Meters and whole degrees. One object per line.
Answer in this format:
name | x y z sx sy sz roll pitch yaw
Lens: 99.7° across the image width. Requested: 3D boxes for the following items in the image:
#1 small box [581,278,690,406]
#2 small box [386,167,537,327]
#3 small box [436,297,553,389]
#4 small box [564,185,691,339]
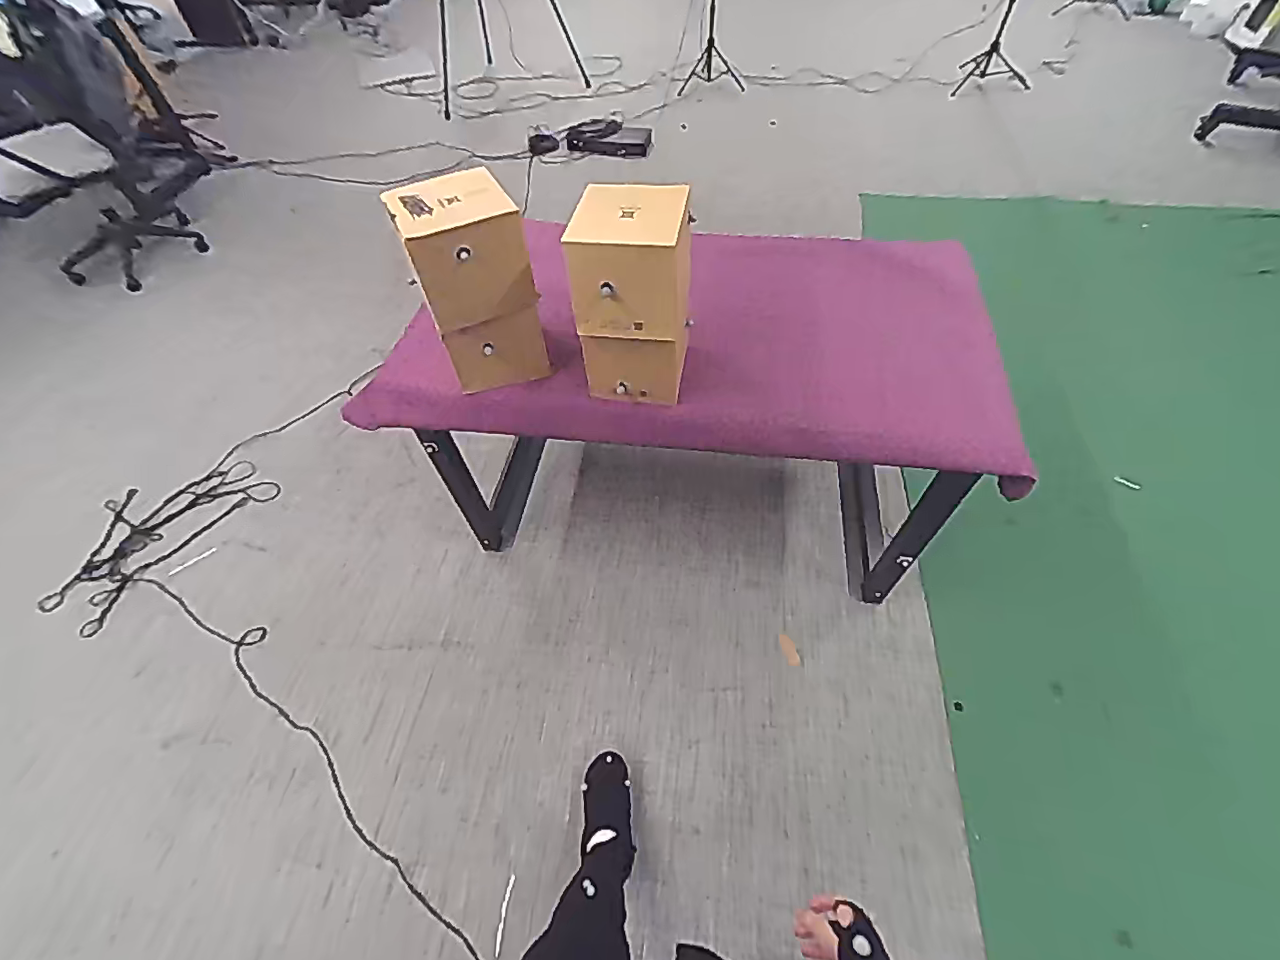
small box | -0.001 -0.263 1.002 0.168 0.176 0.179 7 54 8
small box | -0.288 -0.381 0.896 0.179 0.176 0.168 -23 56 -15
small box | -0.278 -0.296 1.038 0.179 0.176 0.168 -14 55 -7
small box | -0.009 -0.345 0.861 0.168 0.176 0.179 6 53 8
